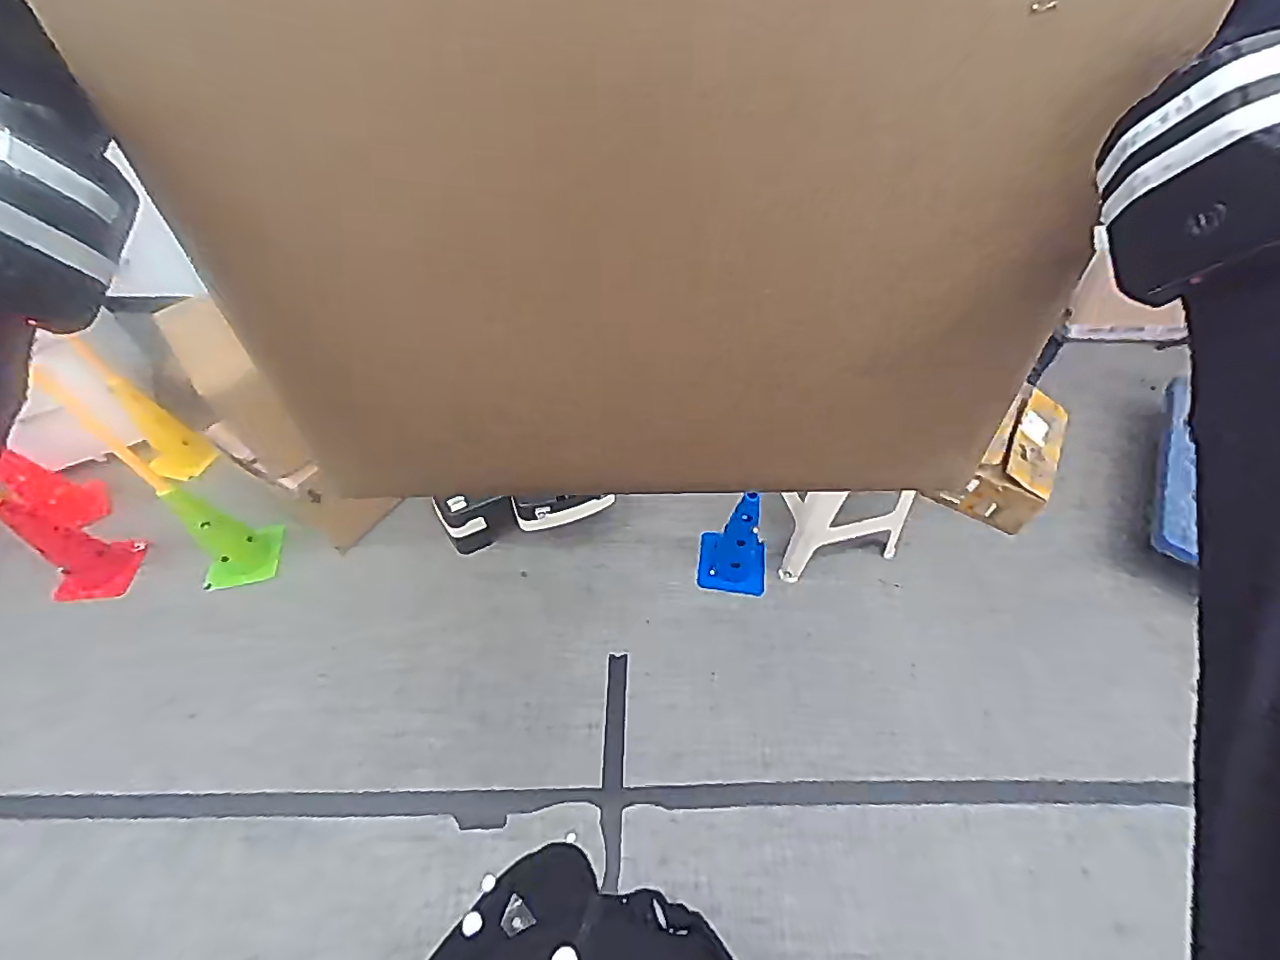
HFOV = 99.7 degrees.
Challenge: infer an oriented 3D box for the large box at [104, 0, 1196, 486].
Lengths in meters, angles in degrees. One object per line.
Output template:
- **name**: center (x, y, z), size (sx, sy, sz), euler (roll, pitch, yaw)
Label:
- **large box**: center (0.004, -0.208, 0.361), size (0.408, 0.320, 0.320), euler (0, 44, 1)
